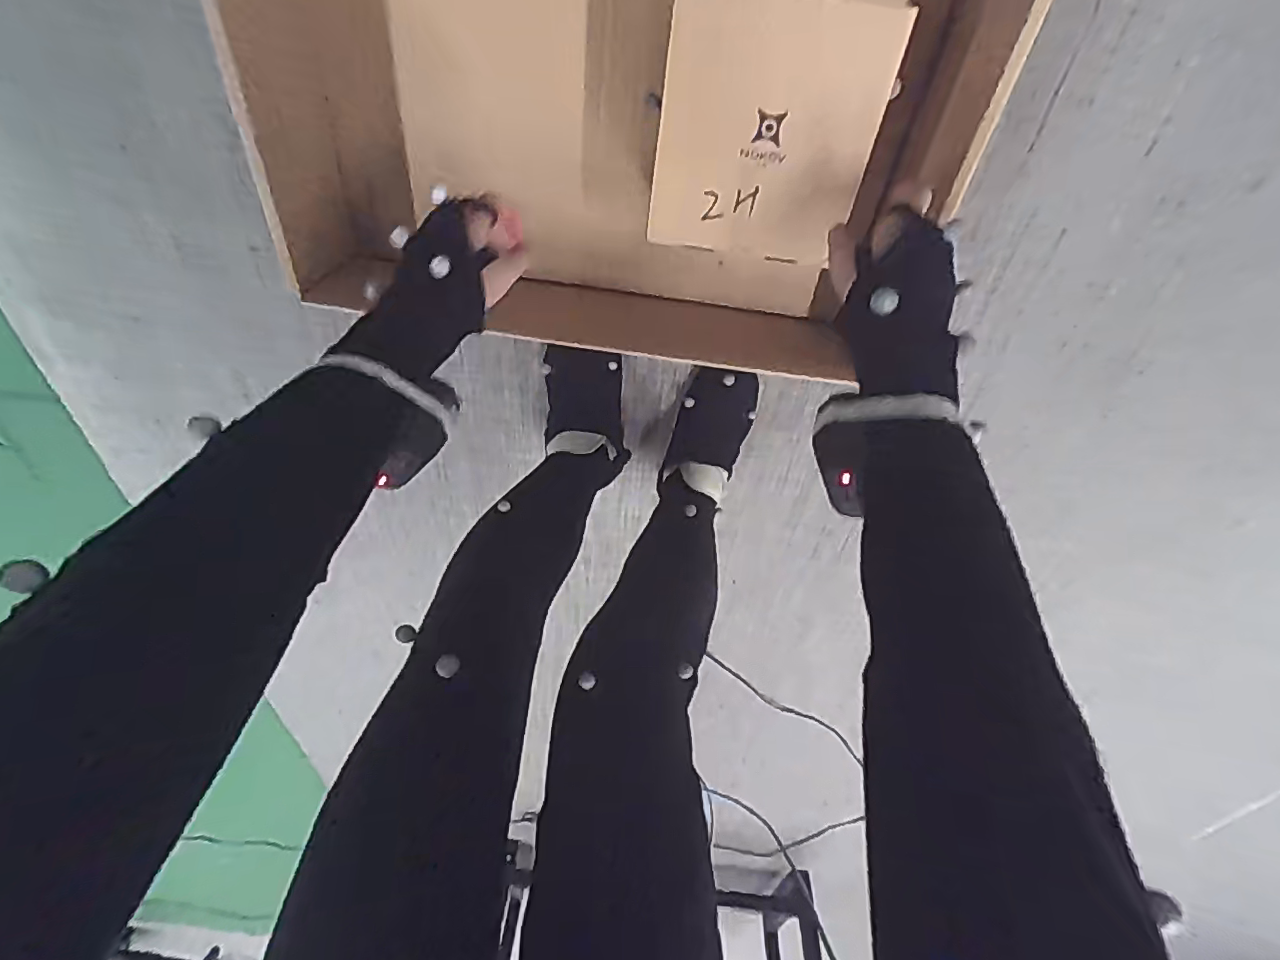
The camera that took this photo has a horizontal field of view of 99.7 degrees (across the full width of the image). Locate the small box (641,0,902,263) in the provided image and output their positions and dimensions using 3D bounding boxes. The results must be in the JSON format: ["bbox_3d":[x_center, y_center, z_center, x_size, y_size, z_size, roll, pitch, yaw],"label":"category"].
[{"bbox_3d":[0.096,-0.320,0.484,0.168,0.176,0.179,9,130,-1],"label":"small box"}]
